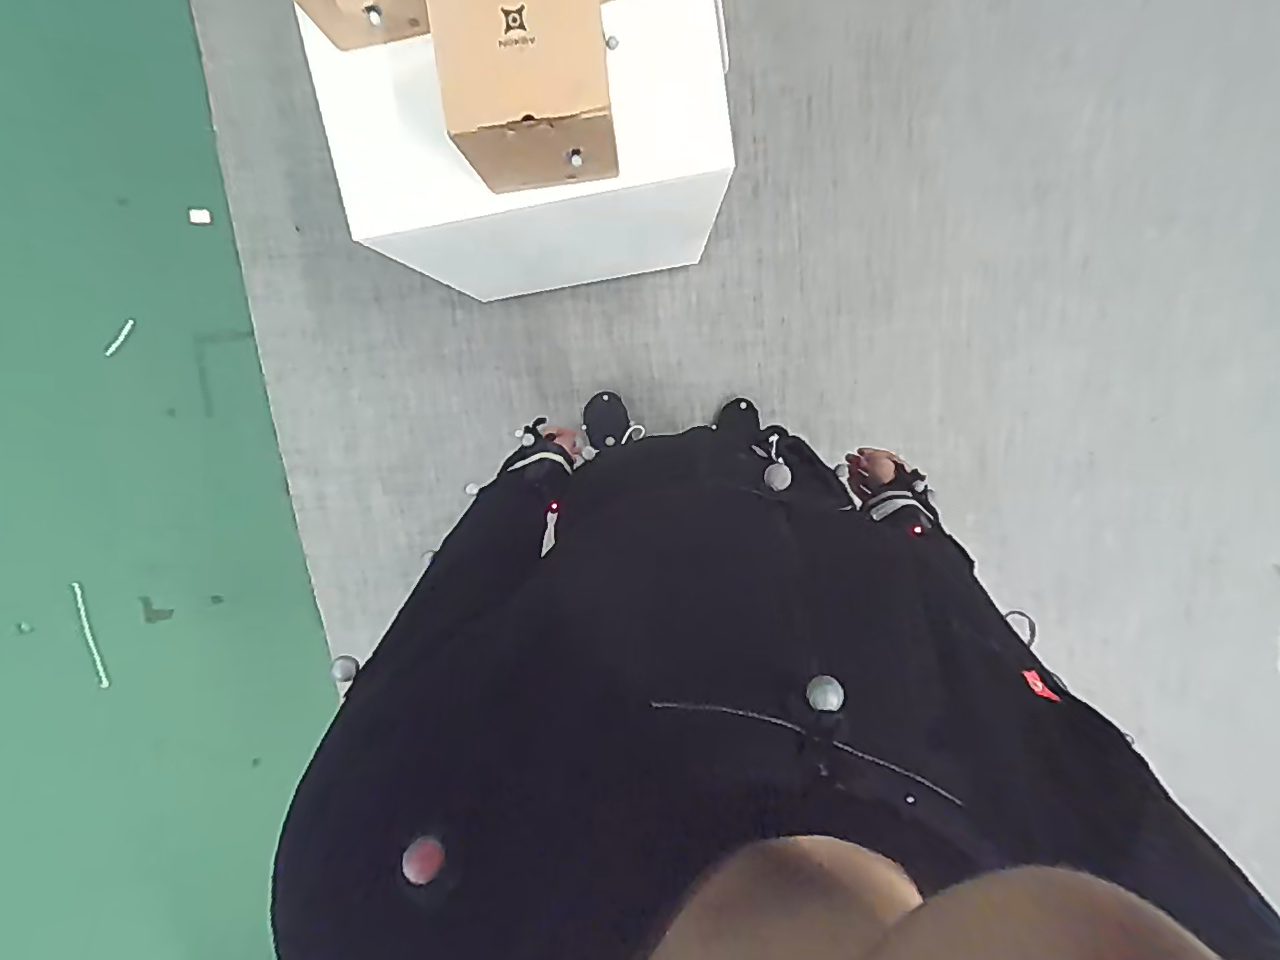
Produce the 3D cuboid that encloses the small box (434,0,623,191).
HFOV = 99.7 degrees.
[{"bbox_3d":[-0.111,-0.442,0.600,0.168,0.176,0.179,-6,98,2],"label":"small box"}]

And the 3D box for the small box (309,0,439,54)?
[{"bbox_3d":[-0.298,-0.610,0.577,0.168,0.176,0.179,-10,101,2],"label":"small box"}]
